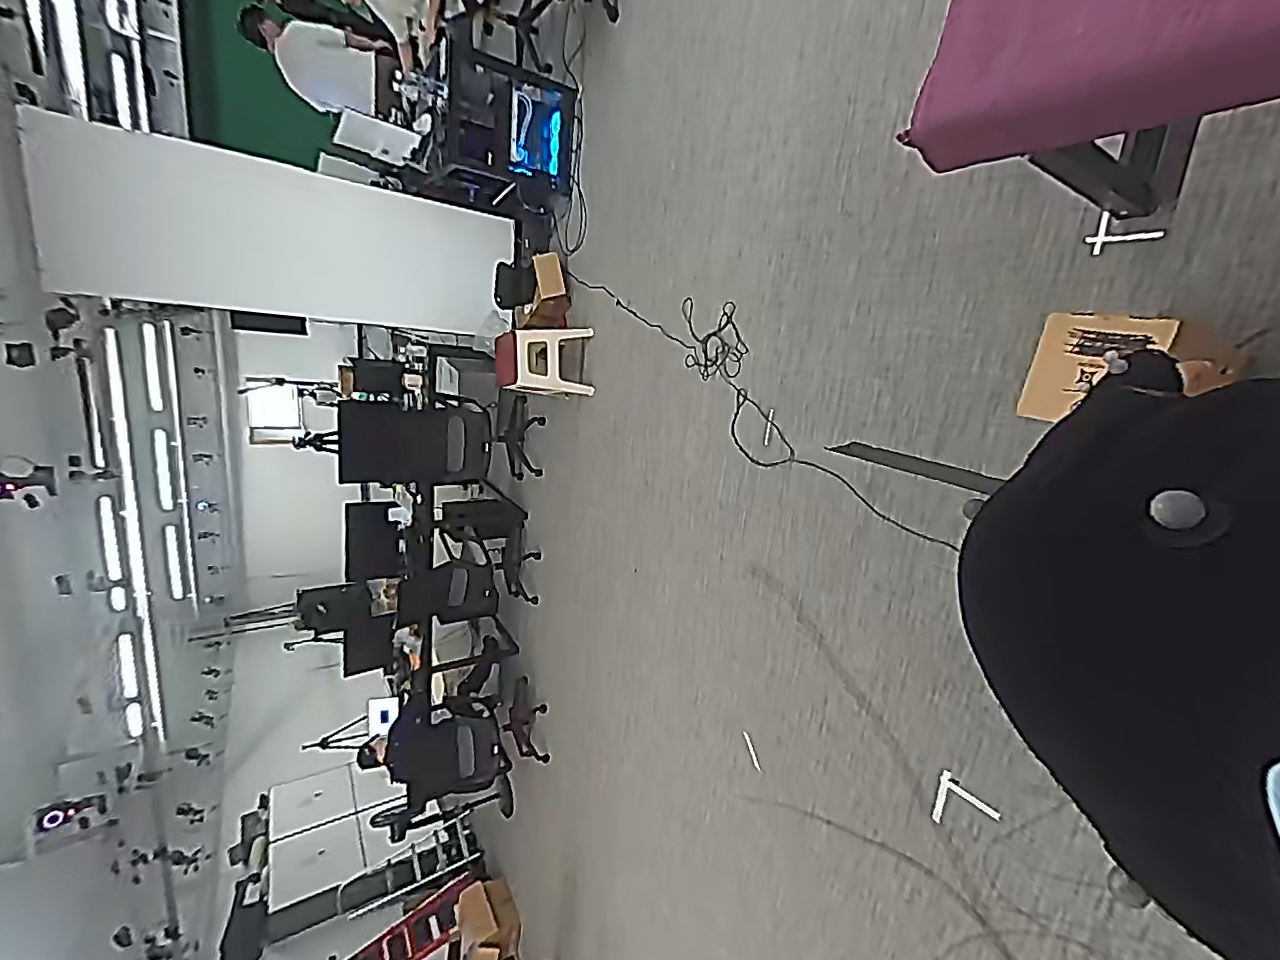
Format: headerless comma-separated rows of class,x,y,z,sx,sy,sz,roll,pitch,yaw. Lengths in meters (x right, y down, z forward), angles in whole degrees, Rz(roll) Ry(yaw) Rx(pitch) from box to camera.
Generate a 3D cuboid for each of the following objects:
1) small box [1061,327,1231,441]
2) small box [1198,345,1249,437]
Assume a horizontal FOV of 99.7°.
small box,0.910,-0.173,0.973,0.168,0.176,0.179,27,115,53
small box,1.043,-0.187,1.069,0.168,0.176,0.179,34,121,50
